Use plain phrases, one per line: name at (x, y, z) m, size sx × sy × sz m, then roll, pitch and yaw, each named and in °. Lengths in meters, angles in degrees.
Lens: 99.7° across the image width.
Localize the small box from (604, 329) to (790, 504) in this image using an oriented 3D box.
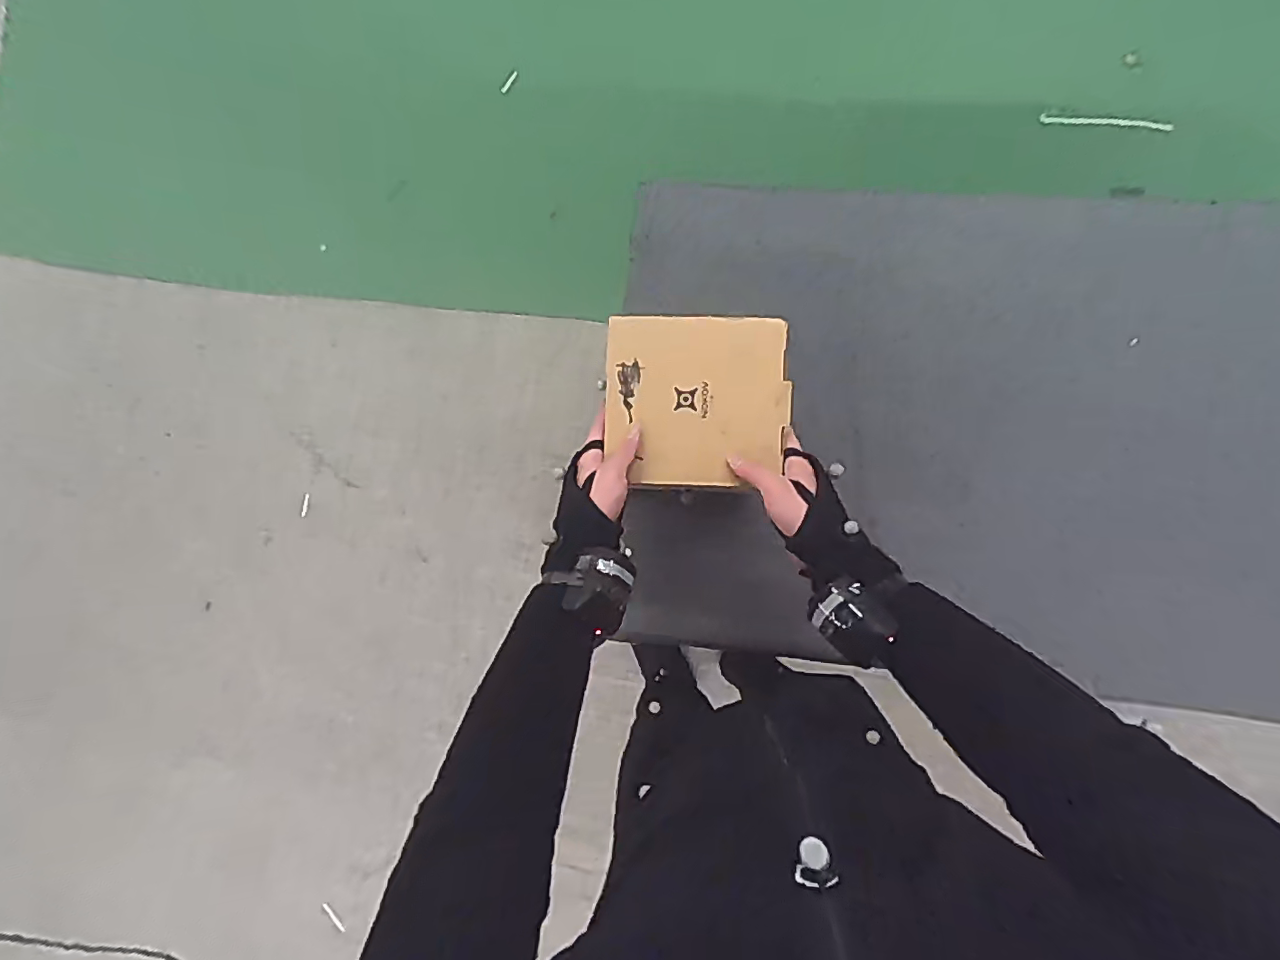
small box at (0.058, -0.059, 0.599) m, size 0.179 × 0.176 × 0.168 m, roll 2°, pitch 87°, yaw 3°
